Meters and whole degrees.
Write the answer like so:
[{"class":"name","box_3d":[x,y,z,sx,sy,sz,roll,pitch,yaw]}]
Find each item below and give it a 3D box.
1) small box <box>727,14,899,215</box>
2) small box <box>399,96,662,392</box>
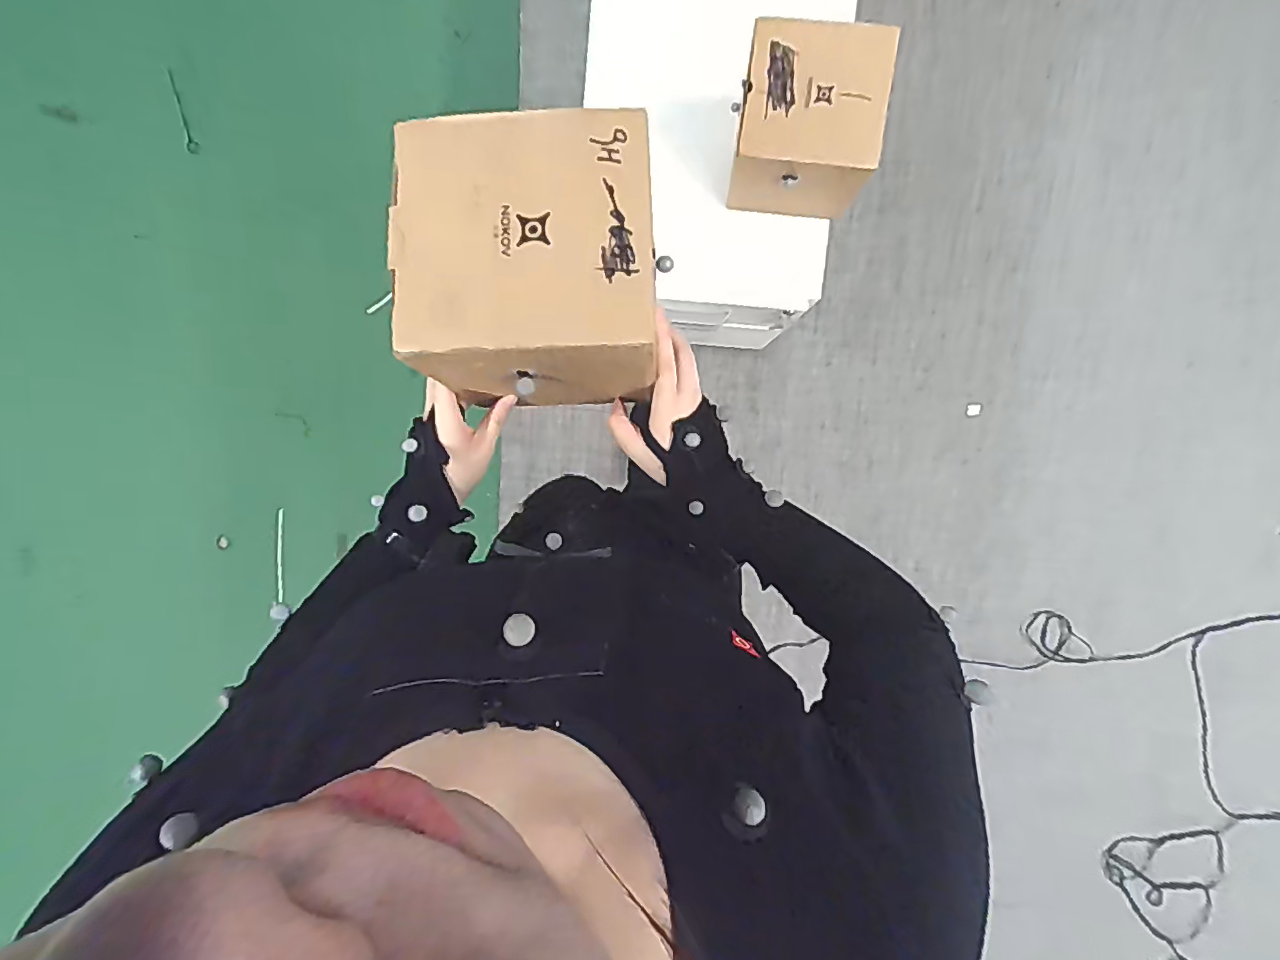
[{"class":"small box","box_3d":[0.221,-0.486,0.743,0.179,0.176,0.168,8,97,3]},{"class":"small box","box_3d":[-0.072,-0.171,0.444,0.179,0.176,0.168,-1,86,2]}]
